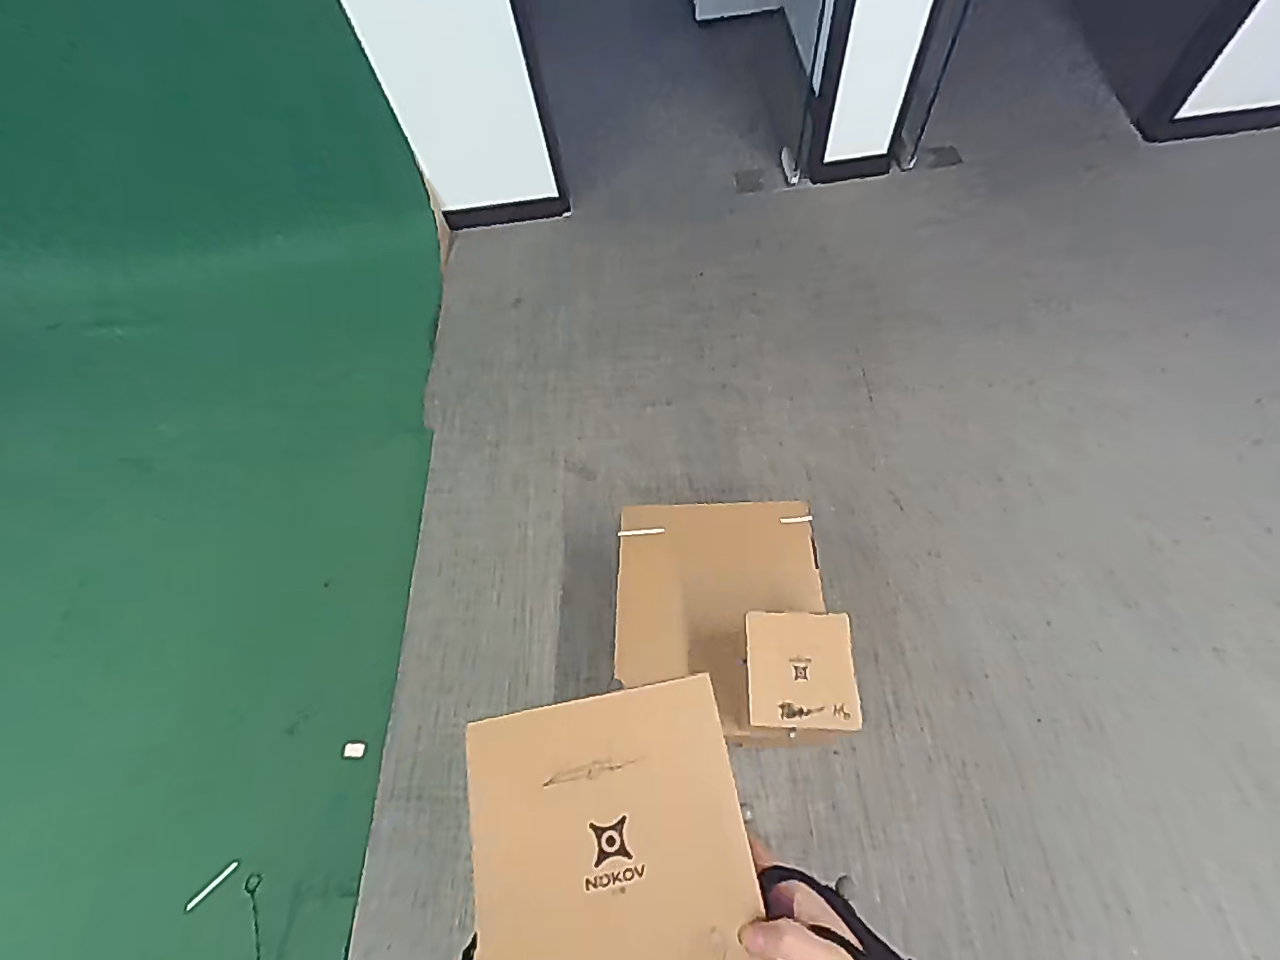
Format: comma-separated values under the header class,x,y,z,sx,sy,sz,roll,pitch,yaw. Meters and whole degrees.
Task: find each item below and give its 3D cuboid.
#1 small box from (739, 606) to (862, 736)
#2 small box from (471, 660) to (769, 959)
class,x,y,z,sx,sy,sz,roll,pitch,yaw
small box,0.257,0.323,0.908,0.168,0.176,0.179,0,61,6
small box,-0.020,0.246,0.407,0.168,0.176,0.179,-9,66,-6
